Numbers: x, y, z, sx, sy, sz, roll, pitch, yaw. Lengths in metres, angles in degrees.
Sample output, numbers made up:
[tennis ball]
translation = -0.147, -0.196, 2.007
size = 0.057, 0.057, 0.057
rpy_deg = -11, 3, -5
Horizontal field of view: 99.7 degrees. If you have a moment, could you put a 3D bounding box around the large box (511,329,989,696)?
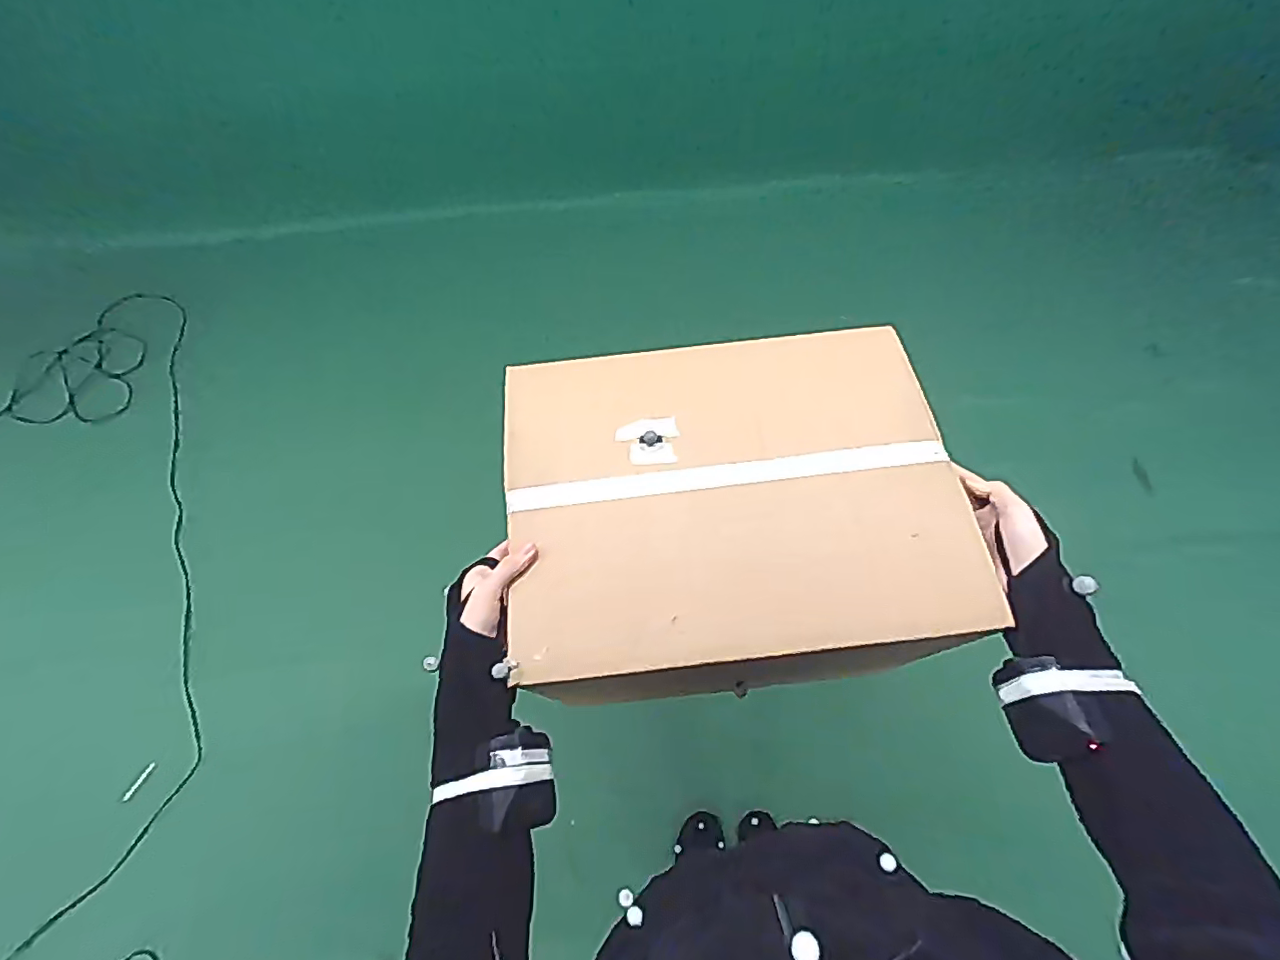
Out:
[large box]
translation = 0.088, 0.064, 0.644
size = 0.408, 0.320, 0.320
rpy_deg = -7, 64, 0
